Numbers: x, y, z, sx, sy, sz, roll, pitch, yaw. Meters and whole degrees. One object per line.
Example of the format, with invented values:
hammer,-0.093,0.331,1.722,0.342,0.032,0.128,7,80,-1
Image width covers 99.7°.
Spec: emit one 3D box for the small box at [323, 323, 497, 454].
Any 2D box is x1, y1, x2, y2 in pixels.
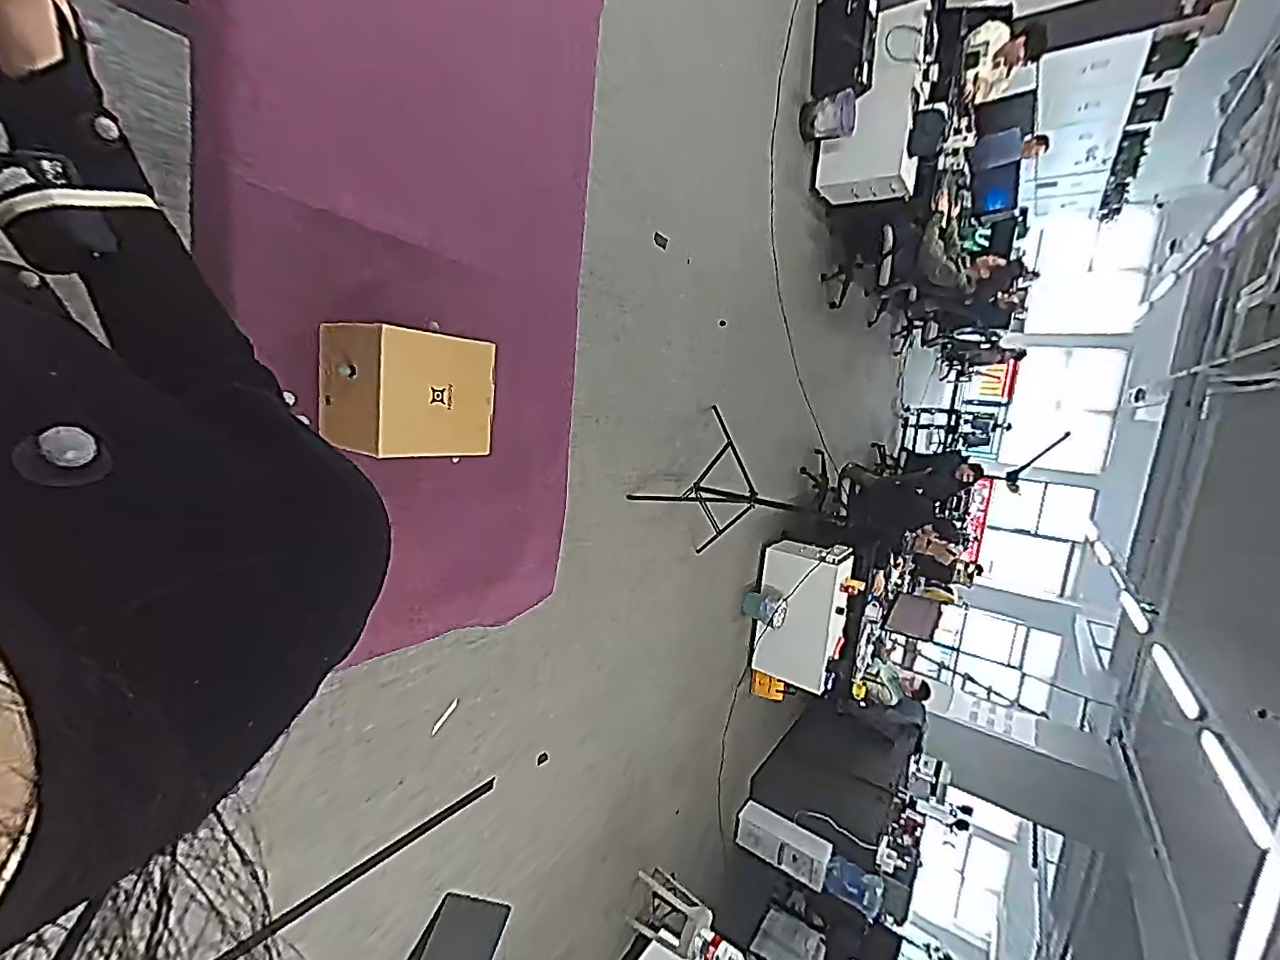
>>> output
small box,-0.334,-0.128,0.782,0.179,0.176,0.168,-6,104,-55
